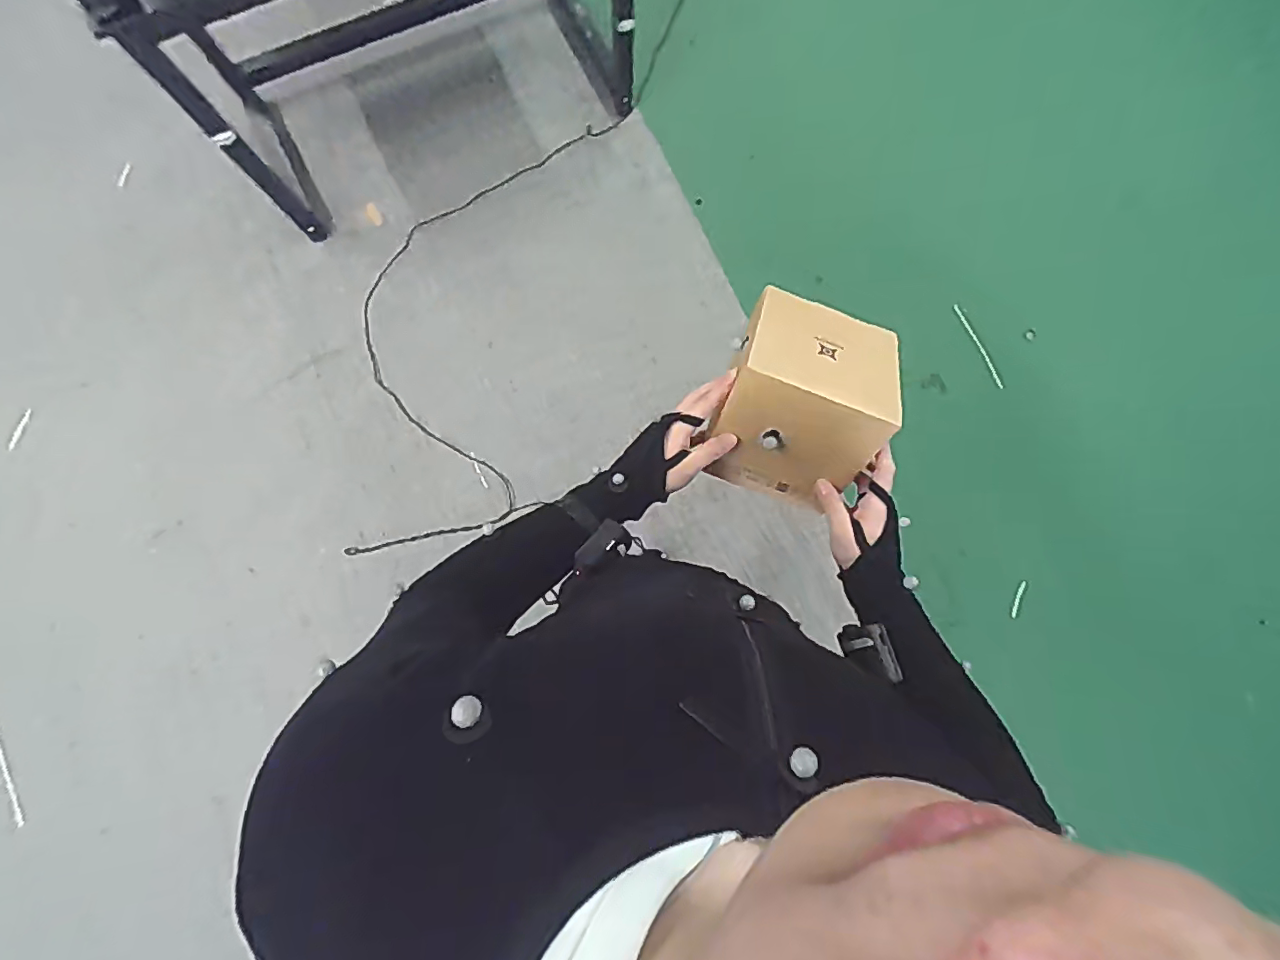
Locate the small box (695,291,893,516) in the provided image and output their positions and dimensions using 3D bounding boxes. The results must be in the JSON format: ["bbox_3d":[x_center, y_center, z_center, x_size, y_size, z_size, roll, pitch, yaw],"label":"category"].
[{"bbox_3d":[0.174,-0.085,0.639,0.168,0.176,0.179,20,48,0],"label":"small box"}]
